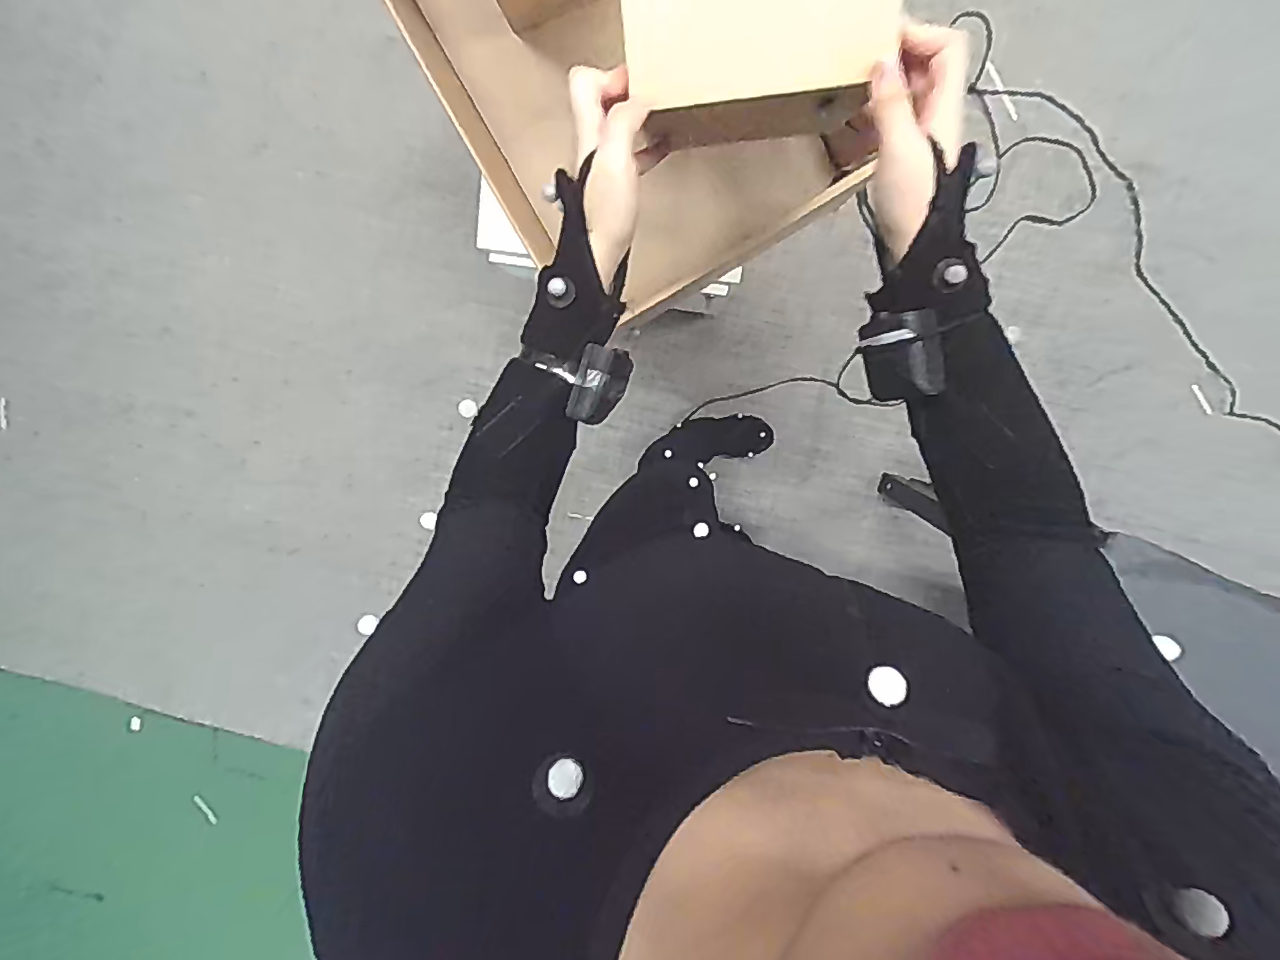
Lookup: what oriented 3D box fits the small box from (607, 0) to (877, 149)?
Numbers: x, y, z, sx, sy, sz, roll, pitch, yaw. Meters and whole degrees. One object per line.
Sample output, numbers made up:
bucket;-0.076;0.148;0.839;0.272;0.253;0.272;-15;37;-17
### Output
small box;0.068;-0.369;0.414;0.179;0.176;0.168;-4;112;4
